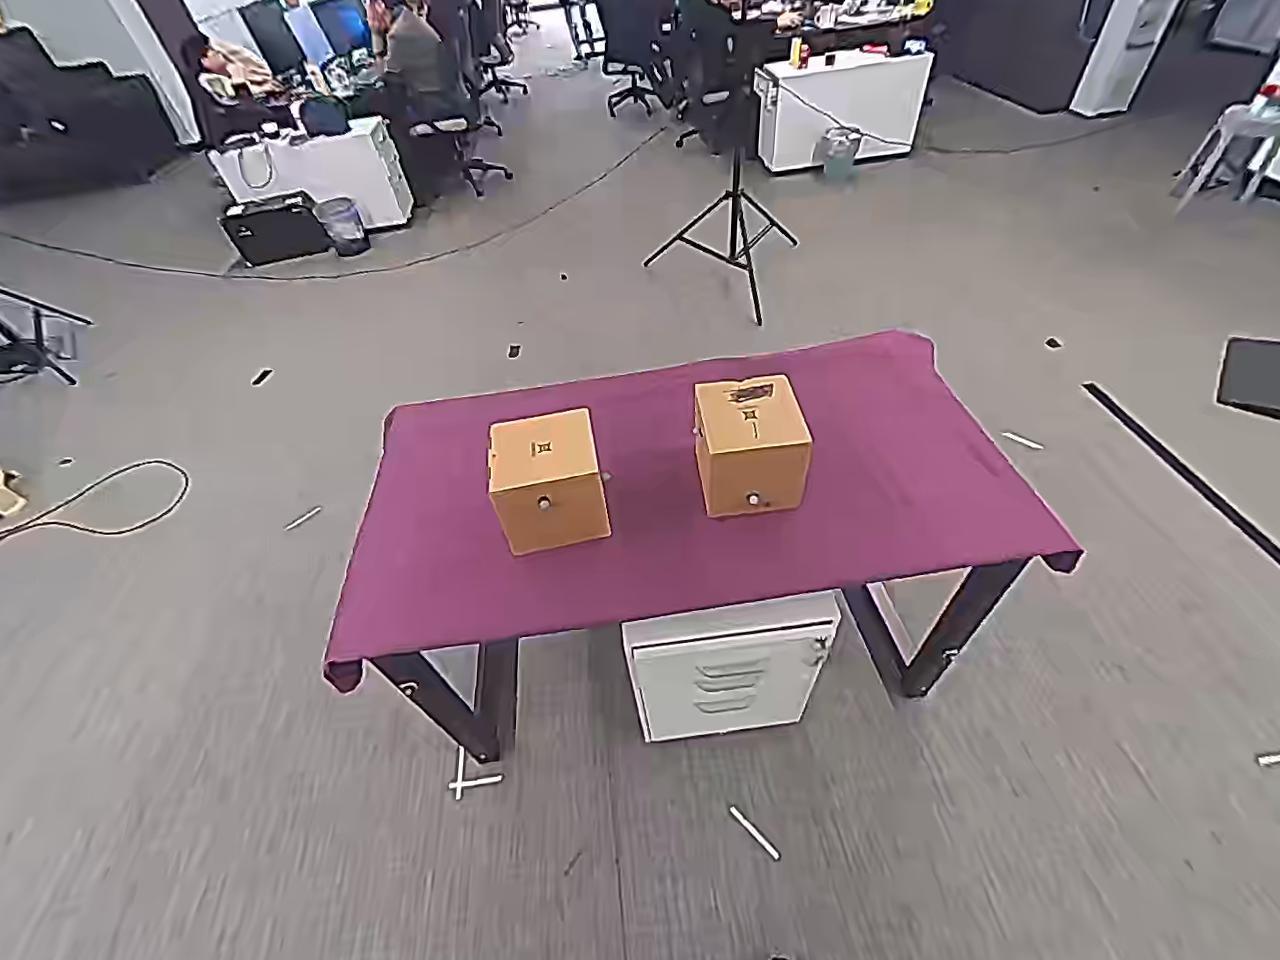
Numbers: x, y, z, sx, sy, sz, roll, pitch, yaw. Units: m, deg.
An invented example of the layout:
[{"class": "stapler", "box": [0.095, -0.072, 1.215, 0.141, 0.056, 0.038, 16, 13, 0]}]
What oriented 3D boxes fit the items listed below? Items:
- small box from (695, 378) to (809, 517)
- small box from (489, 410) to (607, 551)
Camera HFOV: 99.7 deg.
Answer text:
[{"class": "small box", "box": [0.189, -0.057, 0.969, 0.168, 0.176, 0.179, -6, 48, 1]}, {"class": "small box", "box": [-0.157, 0.003, 0.956, 0.179, 0.176, 0.168, -11, 47, -3]}]
